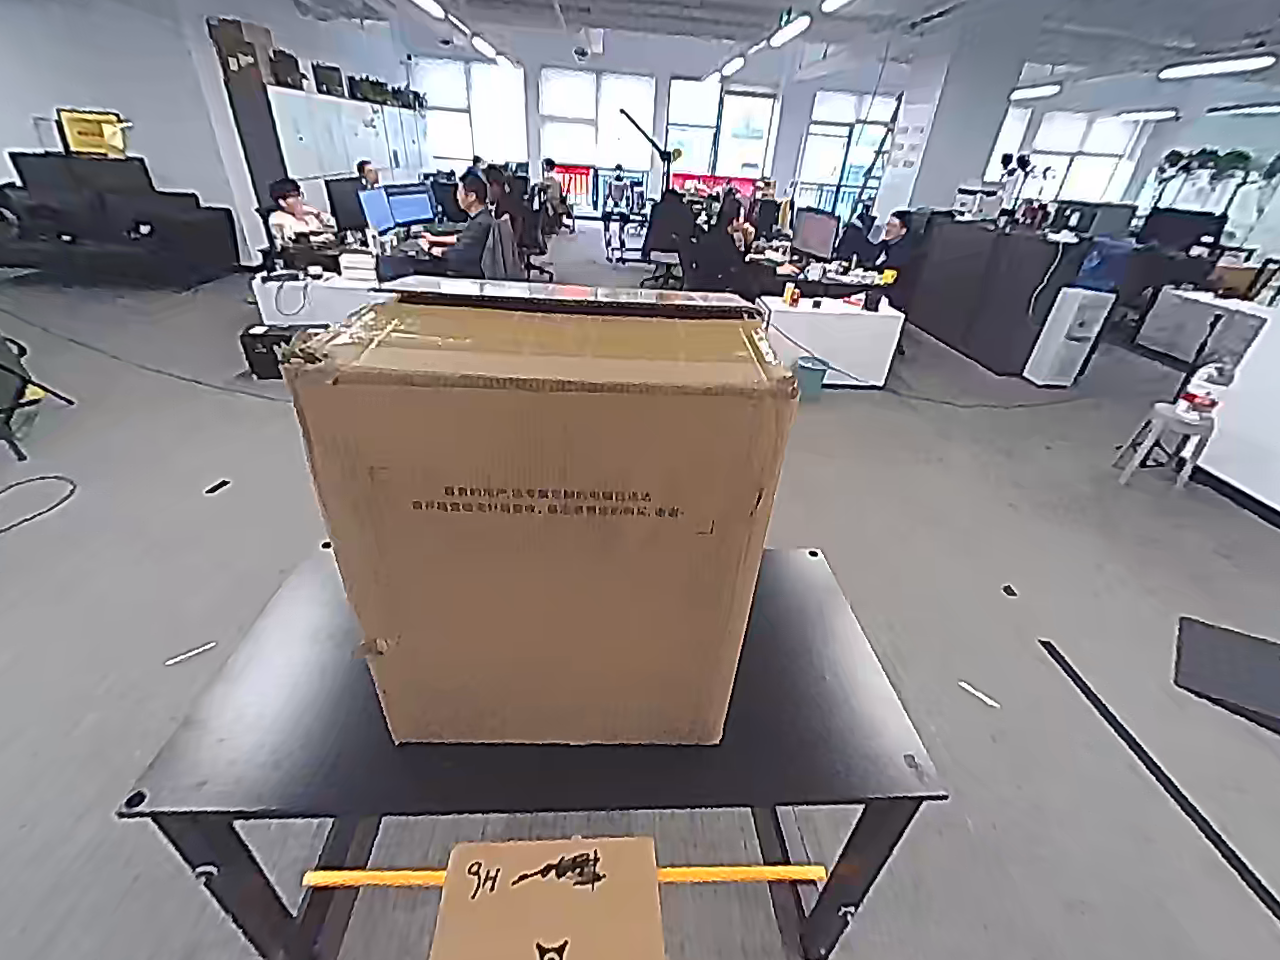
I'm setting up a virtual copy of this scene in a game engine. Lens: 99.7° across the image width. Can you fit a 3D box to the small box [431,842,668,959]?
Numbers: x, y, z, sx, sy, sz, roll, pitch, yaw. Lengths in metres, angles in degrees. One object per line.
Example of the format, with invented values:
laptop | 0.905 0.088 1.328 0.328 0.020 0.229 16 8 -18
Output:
small box | -0.068 0.406 0.404 0.168 0.176 0.179 3 34 -8
